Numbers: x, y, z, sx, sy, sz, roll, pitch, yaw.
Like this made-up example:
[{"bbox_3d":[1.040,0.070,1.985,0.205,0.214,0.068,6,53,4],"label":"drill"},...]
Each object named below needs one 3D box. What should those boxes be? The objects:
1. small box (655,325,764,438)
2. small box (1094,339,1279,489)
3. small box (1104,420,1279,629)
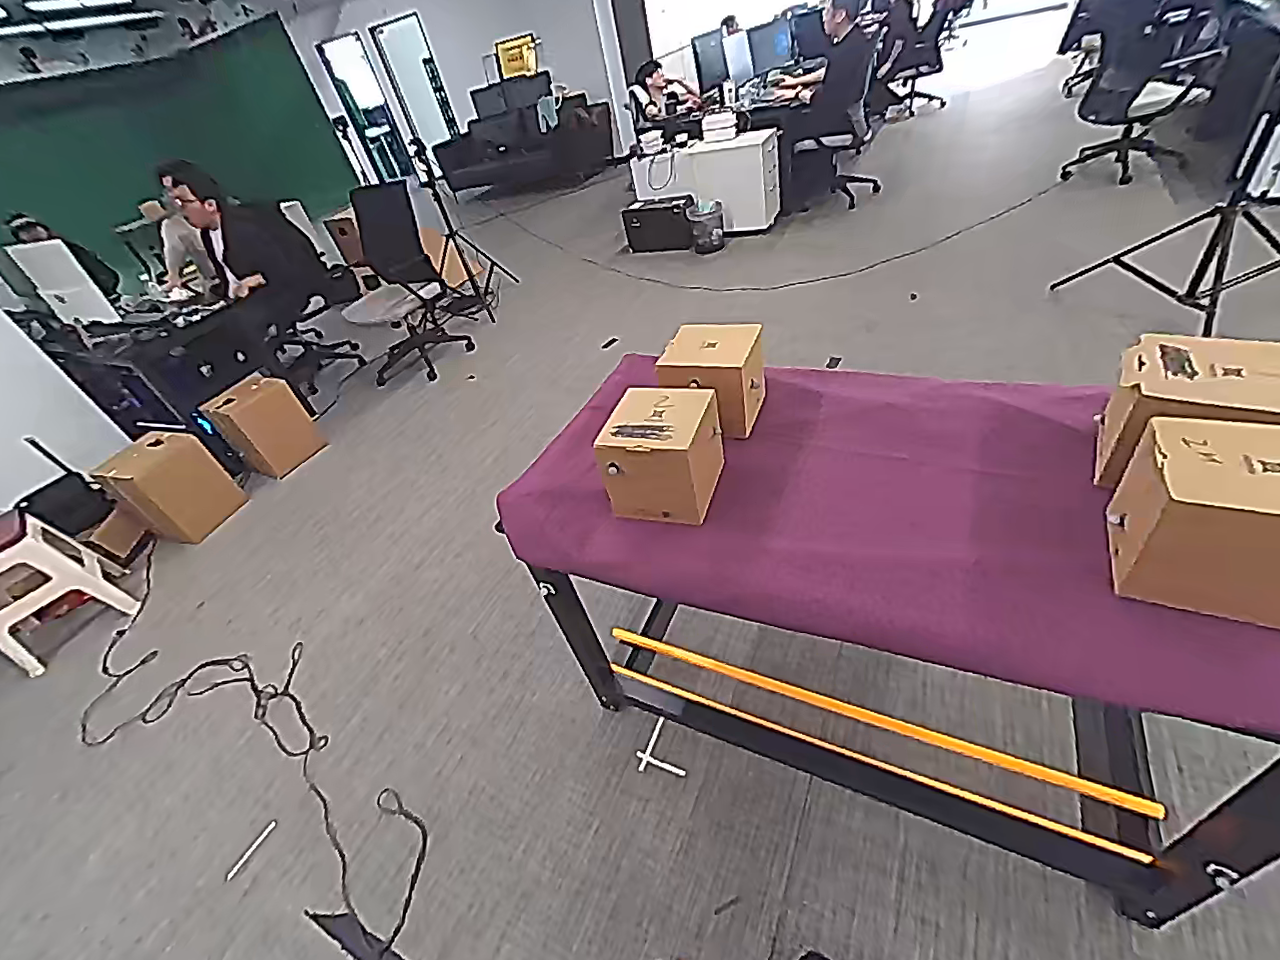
[{"bbox_3d":[0.153,-0.202,1.114,0.179,0.176,0.168,7,45,24],"label":"small box"},{"bbox_3d":[0.783,-0.080,0.770,0.179,0.176,0.168,16,50,30],"label":"small box"},{"bbox_3d":[0.696,0.051,0.645,0.179,0.176,0.168,11,44,29],"label":"small box"}]
